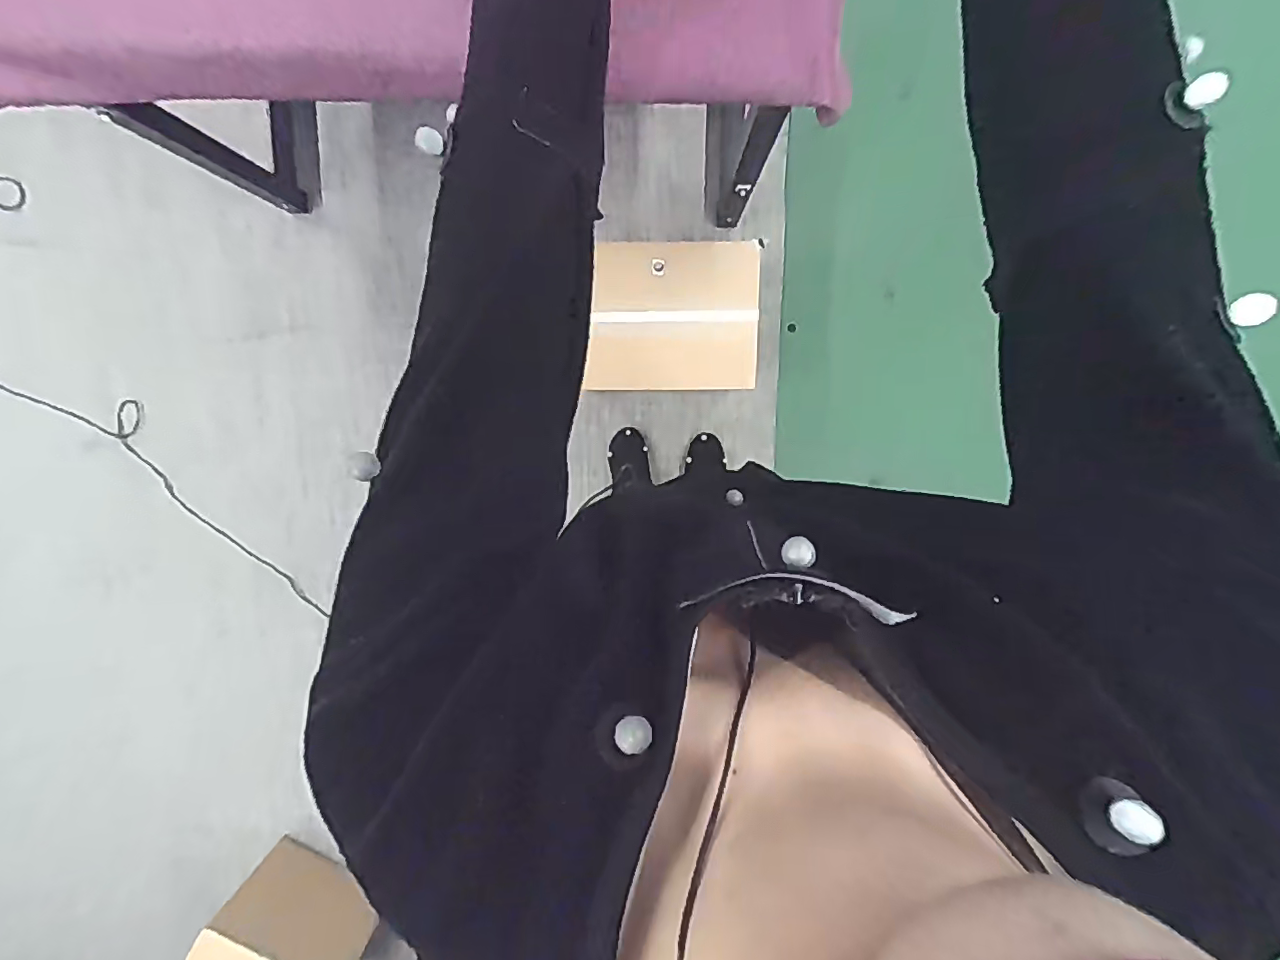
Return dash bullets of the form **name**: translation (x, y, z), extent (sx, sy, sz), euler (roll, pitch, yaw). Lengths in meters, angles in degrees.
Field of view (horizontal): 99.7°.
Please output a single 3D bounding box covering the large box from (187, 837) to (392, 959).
- **large box**: translation (-1.033, 1.370, 1.591), extent (0.408, 0.320, 0.320), euler (30, 98, -1)
